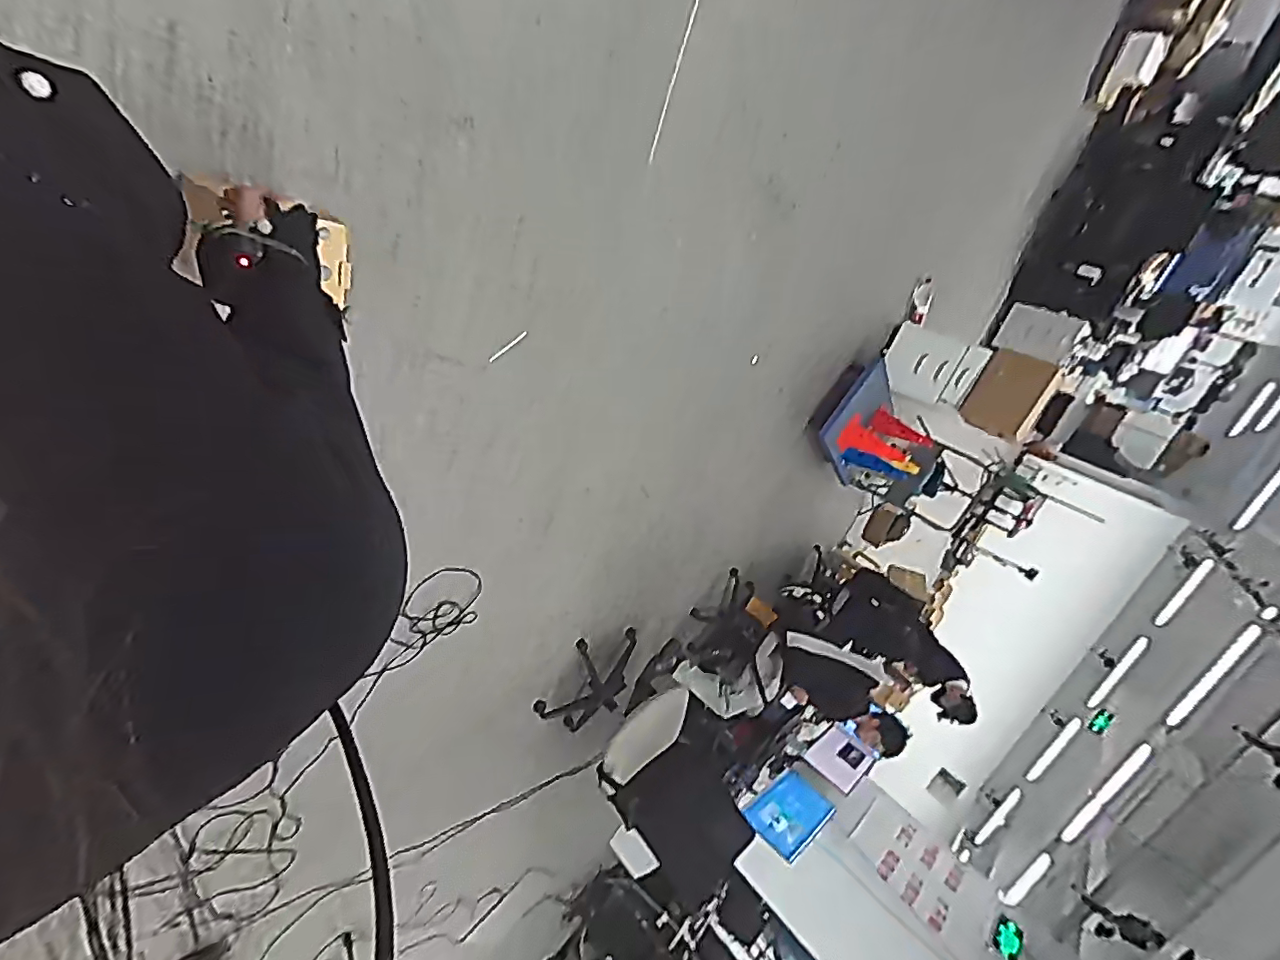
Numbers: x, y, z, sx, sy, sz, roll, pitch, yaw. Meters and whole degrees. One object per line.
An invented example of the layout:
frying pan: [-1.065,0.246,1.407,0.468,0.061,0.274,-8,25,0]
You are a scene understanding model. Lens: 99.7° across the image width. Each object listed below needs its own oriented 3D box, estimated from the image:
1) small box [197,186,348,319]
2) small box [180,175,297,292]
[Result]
small box: [-0.622,-0.385,0.919,0.179,0.176,0.168,-9,124,-45]
small box: [-0.739,-0.451,1.013,0.168,0.176,0.179,-9,124,-45]
